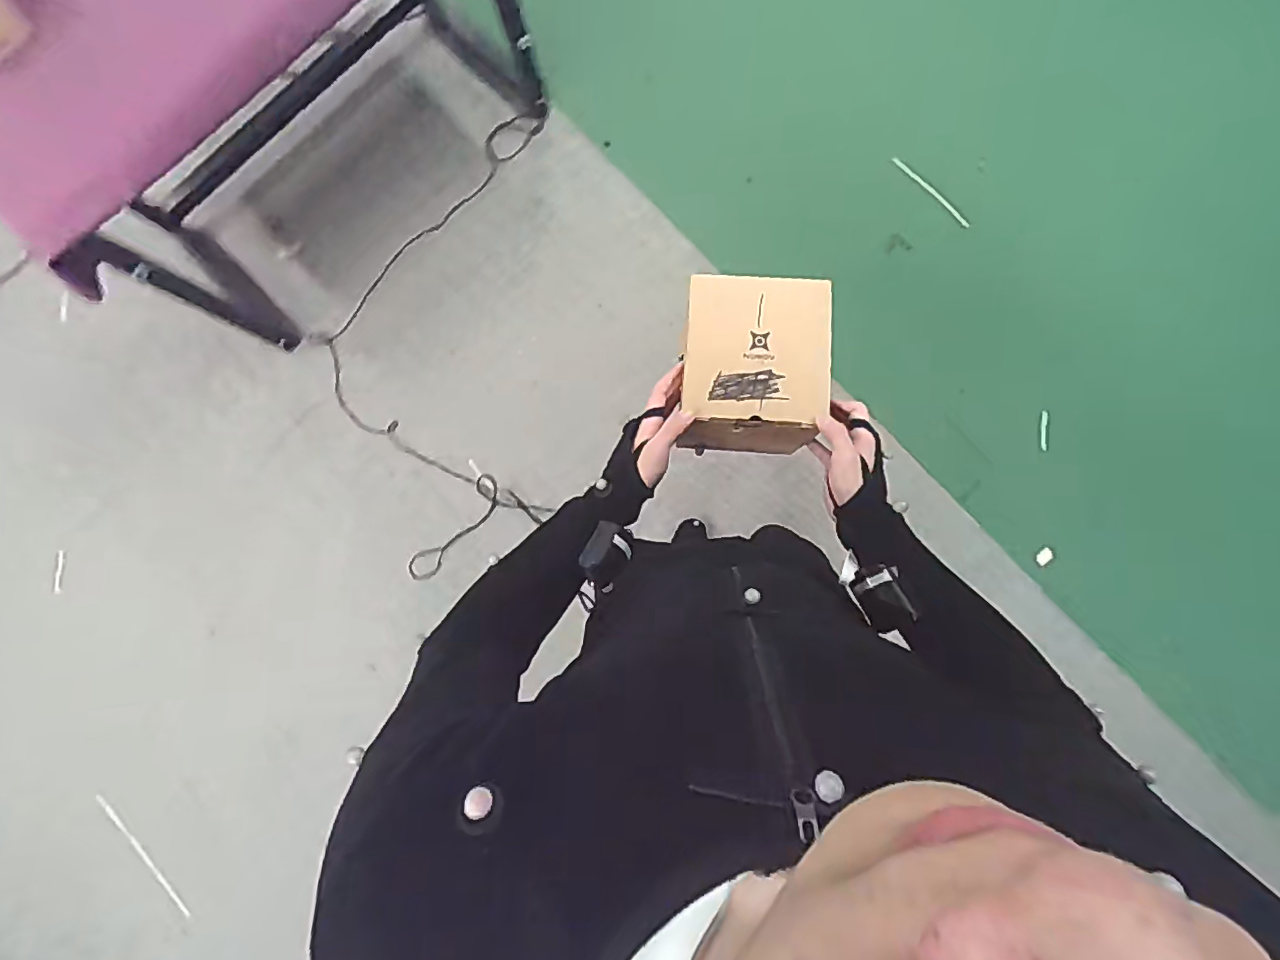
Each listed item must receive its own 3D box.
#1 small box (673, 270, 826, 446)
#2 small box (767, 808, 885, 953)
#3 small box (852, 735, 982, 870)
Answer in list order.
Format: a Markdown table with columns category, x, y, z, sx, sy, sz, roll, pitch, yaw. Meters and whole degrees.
| category | x | y | z | sx | sy | sz | roll | pitch | yaw |
| --- | --- | --- | --- | --- | --- | --- | --- | --- | --- |
| small box | 0.130 | -0.143 | 0.688 | 0.168 | 0.176 | 0.179 | 2 | 82 | 2 |
| small box | 0.423 | 0.919 | 1.260 | 0.168 | 0.176 | 0.179 | -39 | 83 | -1 |
| small box | 0.635 | 0.740 | 1.264 | 0.168 | 0.176 | 0.179 | -39 | 84 | -1 |
